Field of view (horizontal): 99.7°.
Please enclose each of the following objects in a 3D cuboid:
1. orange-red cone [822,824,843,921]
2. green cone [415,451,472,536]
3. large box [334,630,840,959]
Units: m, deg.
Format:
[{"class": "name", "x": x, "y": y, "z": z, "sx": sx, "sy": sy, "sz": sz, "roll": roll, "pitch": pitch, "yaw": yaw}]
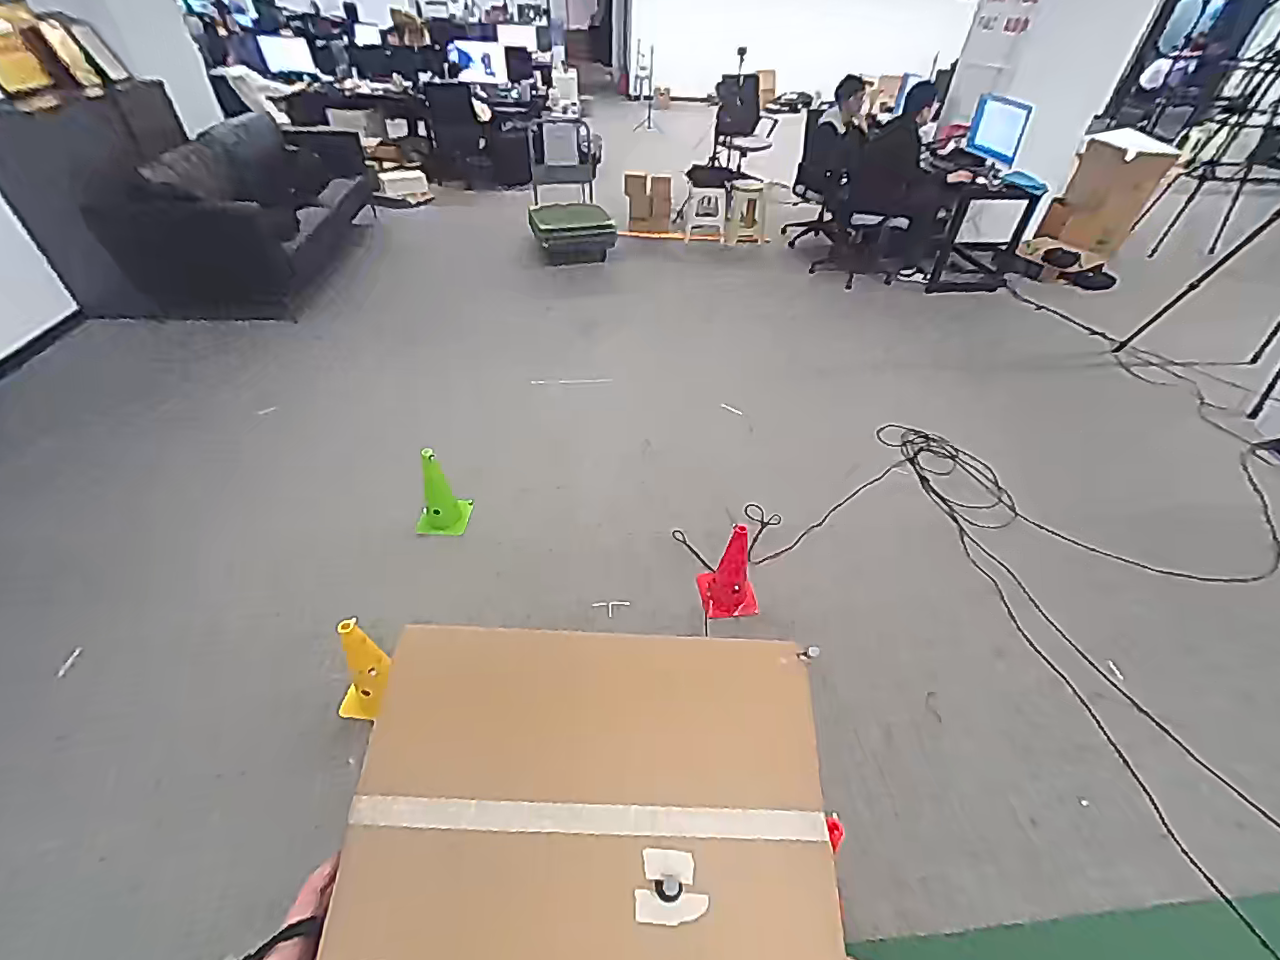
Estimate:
[{"class": "orange-red cone", "x": 0.404, "y": 0.876, "z": 1.264, "sx": 0.199, "sy": 0.360, "sz": 0.198, "roll": 4, "pitch": 43, "yaw": -1}, {"class": "green cone", "x": -0.814, "y": 0.031, "z": 2.143, "sx": 0.200, "sy": 0.368, "sz": 0.202, "roll": 2, "pitch": 43, "yaw": 0}, {"class": "large box", "x": -0.045, "y": 0.367, "z": 0.601, "sx": 0.408, "sy": 0.320, "sz": 0.320, "roll": 3, "pitch": 60, "yaw": -1}]
